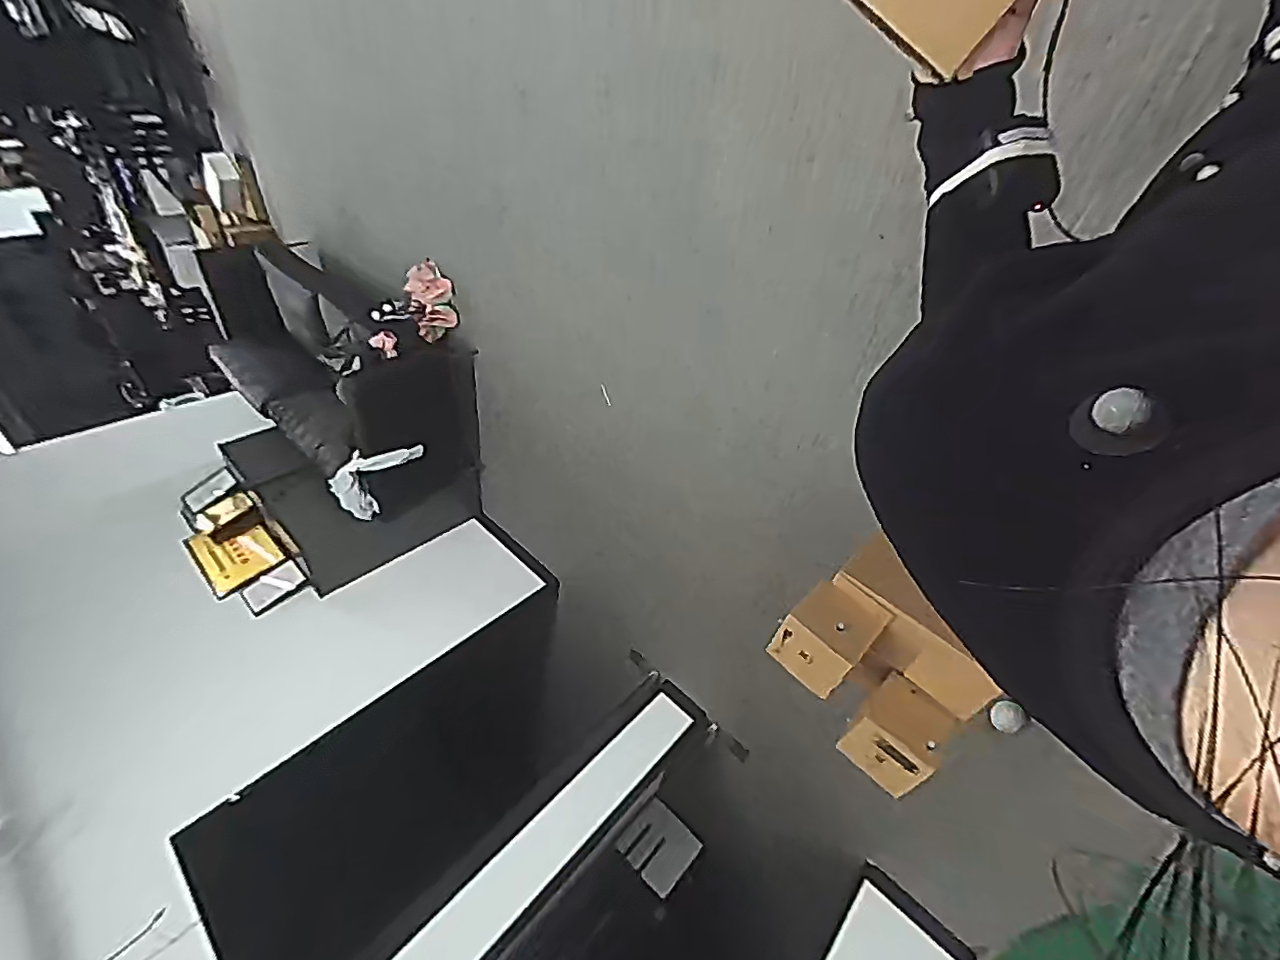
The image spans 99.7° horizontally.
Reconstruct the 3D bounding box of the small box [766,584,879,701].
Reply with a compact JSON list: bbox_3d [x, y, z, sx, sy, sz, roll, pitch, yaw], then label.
[{"bbox_3d":[0.444,0.388,1.313,0.179,0.176,0.168,39,135,25],"label":"small box"}]
